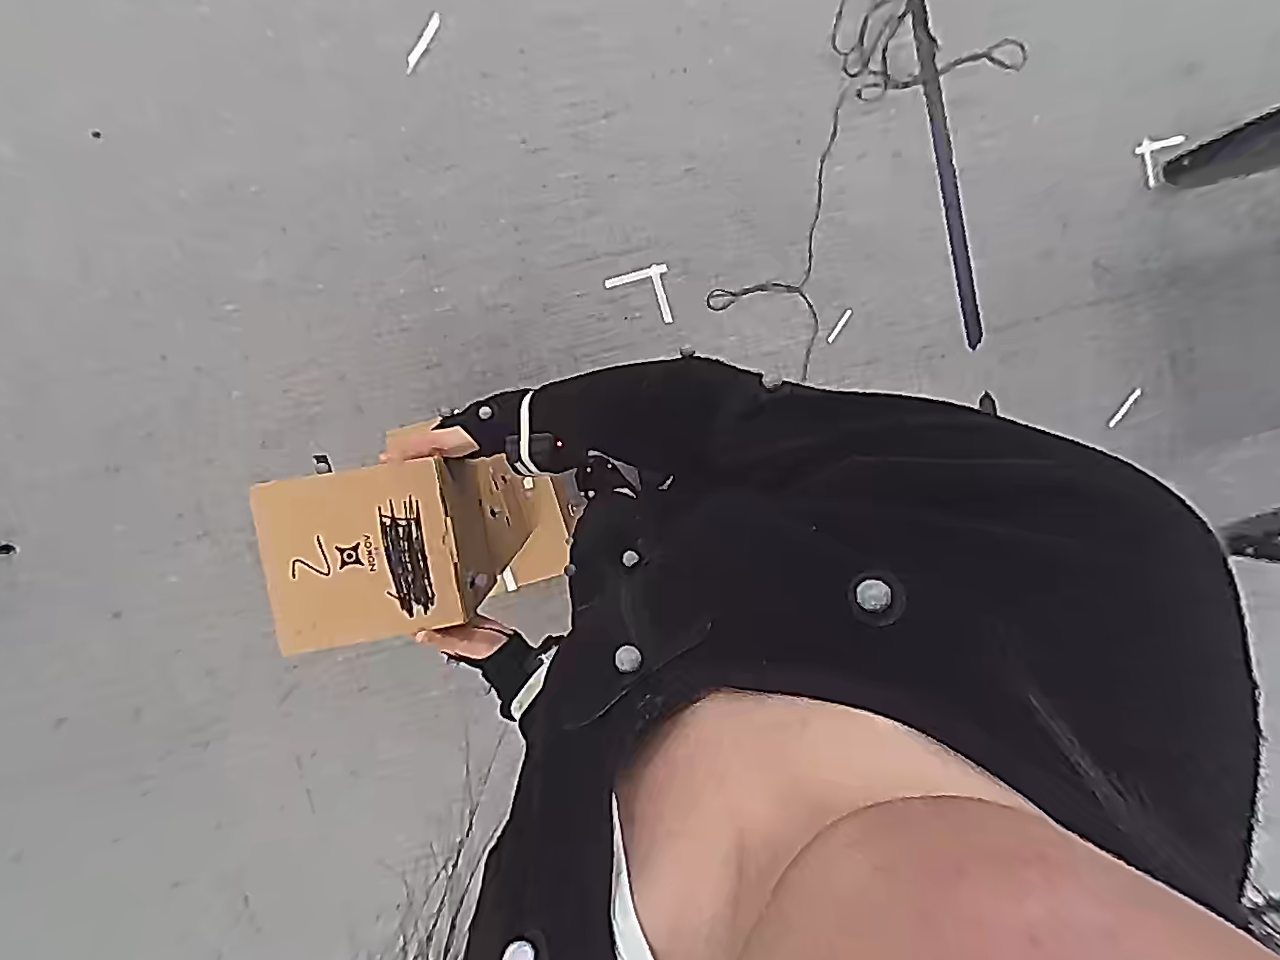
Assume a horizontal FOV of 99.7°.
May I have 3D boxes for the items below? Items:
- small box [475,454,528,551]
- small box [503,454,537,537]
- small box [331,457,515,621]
[{"bbox_3d":[-0.303,0.055,0.936,0.179,0.176,0.168,-19,94,-3],"label":"small box"},{"bbox_3d":[-0.321,0.050,1.097,0.179,0.176,0.168,-18,96,-4],"label":"small box"},{"bbox_3d":[-0.290,0.071,0.773,0.179,0.176,0.168,-23,94,-4],"label":"small box"}]
